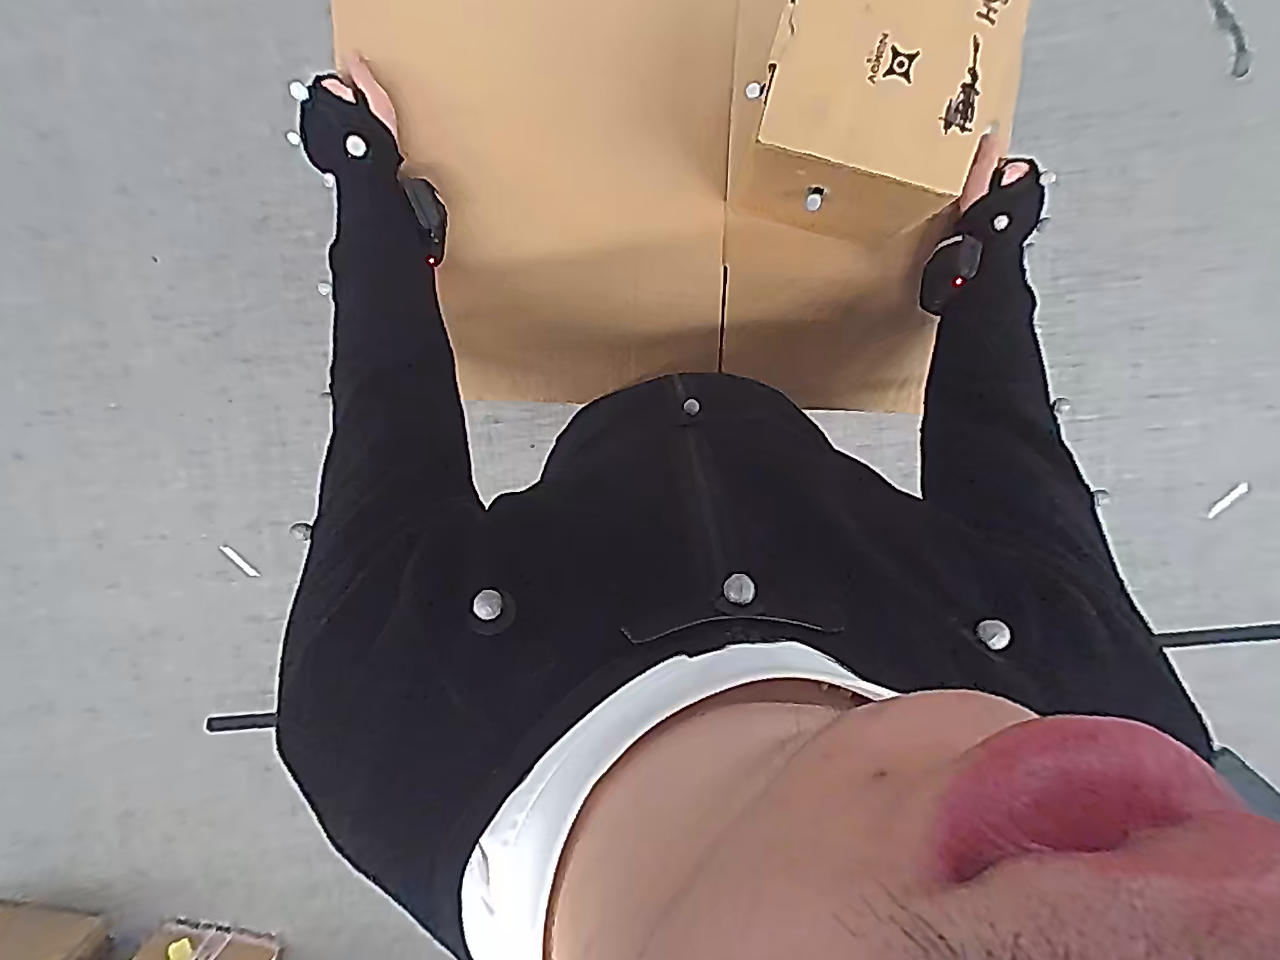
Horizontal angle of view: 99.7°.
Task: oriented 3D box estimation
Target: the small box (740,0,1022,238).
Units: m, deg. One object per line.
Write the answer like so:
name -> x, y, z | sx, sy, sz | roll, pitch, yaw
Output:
small box -> 0.203, -0.349, 0.510 | 0.179, 0.176, 0.168 | 15, 100, 1
